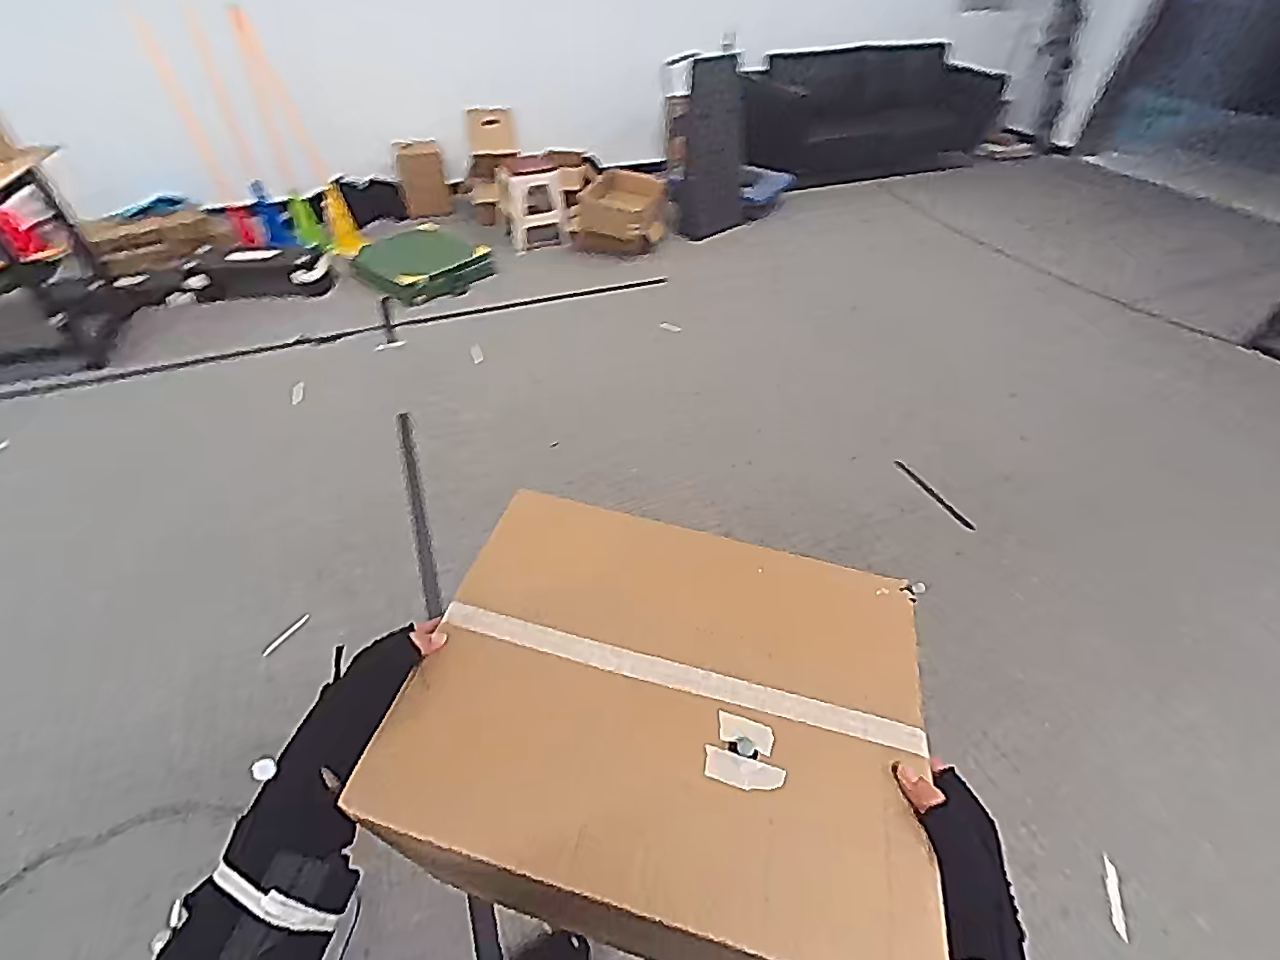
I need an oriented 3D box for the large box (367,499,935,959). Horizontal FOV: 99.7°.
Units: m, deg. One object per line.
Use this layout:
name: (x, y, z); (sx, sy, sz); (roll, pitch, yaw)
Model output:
large box: (0.020, 0.270, 0.568); (0.408, 0.320, 0.320); (14, 47, 8)
